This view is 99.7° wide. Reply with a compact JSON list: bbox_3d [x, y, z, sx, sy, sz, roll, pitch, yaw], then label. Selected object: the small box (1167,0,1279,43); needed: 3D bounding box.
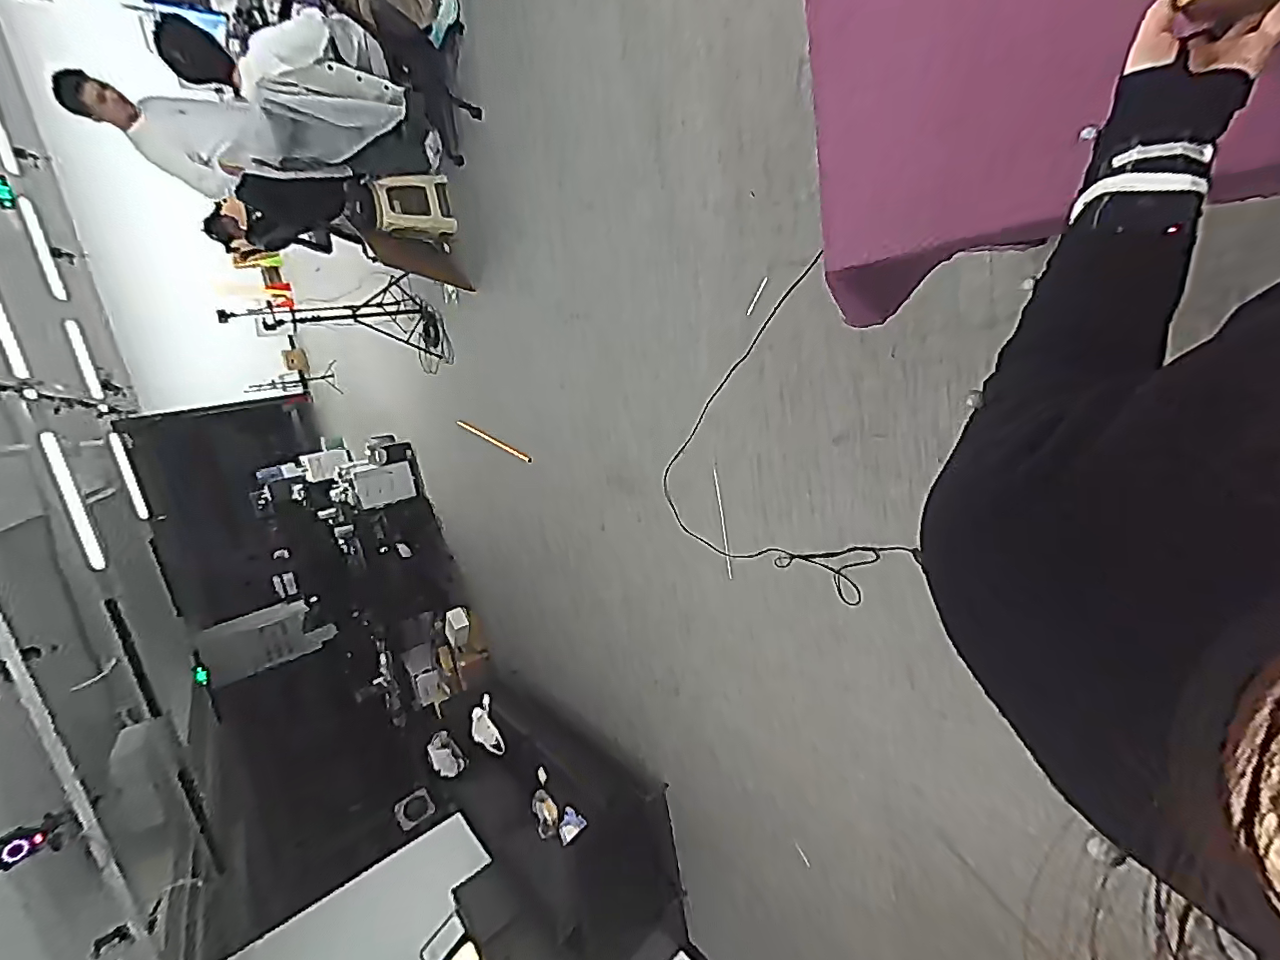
[{"bbox_3d":[0.500,-0.445,0.373,0.168,0.176,0.179,8,110,51],"label":"small box"}]
